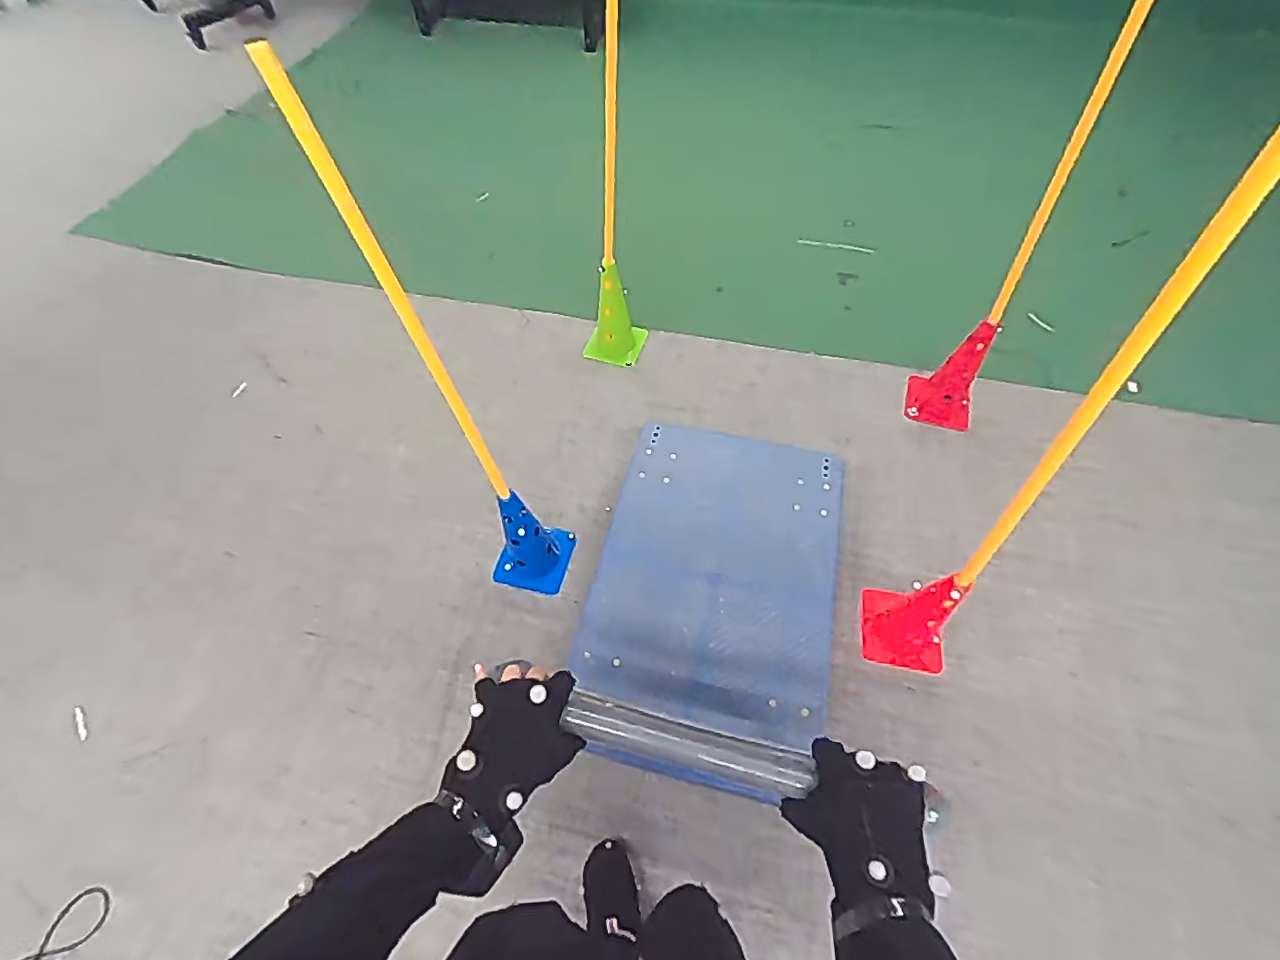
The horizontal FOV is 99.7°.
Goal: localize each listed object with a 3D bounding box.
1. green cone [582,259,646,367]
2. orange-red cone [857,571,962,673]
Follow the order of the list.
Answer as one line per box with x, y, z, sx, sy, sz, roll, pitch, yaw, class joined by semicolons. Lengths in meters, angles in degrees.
-0.102;-0.597;1.867;0.202;0.368;0.200;15;59;11;green cone
0.669;0.305;1.289;0.199;0.360;0.198;10;58;10;orange-red cone
